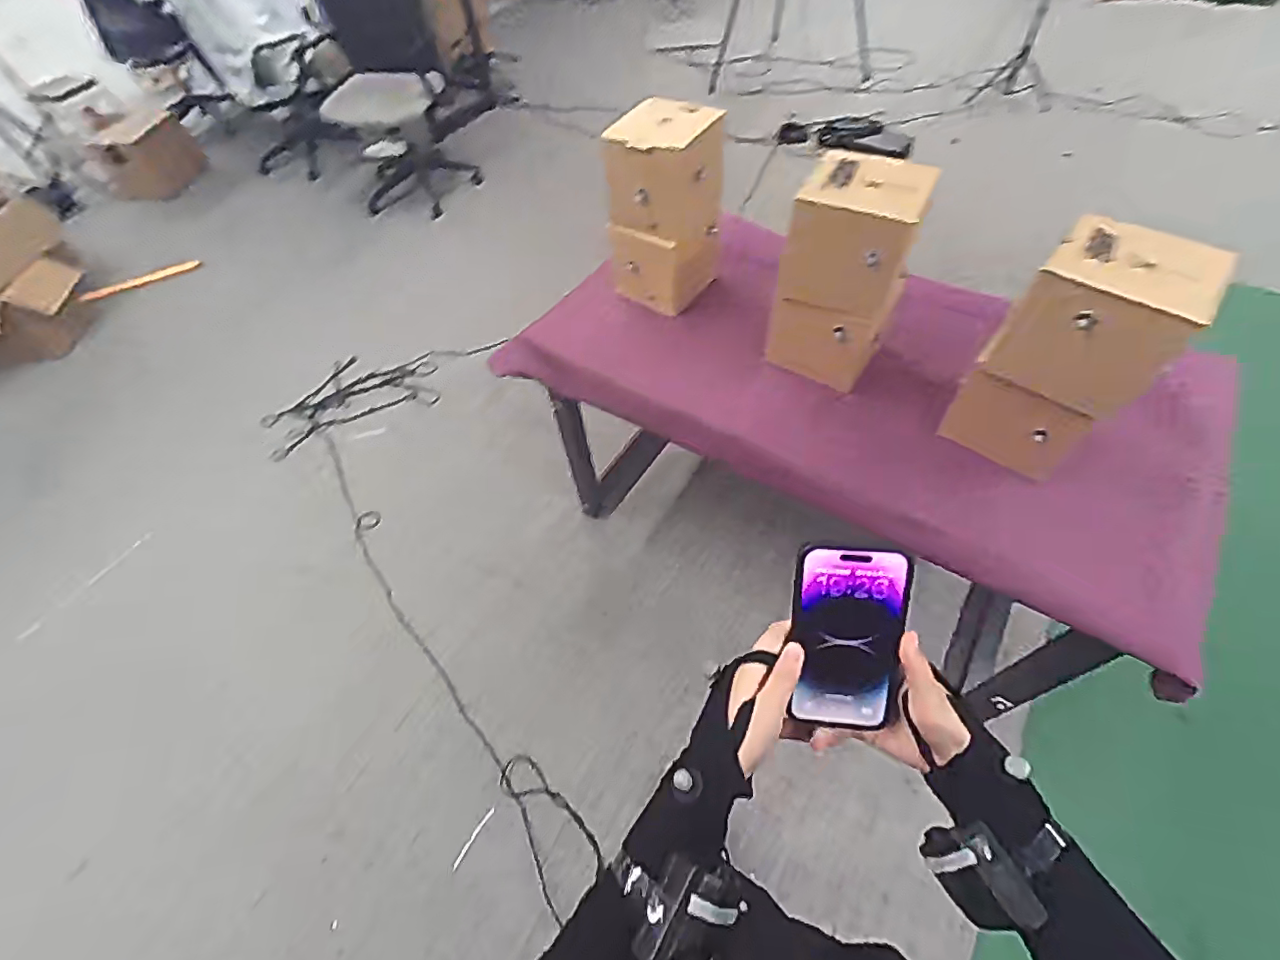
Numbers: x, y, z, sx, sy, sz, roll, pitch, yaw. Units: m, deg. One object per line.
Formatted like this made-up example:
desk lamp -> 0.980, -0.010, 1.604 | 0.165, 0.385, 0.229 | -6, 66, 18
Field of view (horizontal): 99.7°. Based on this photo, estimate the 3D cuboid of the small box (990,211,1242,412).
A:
small box -> 0.616, -0.221, 0.722 | 0.179, 0.176, 0.168 | 35, 64, 25

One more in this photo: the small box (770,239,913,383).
small box -> 0.363, -0.306, 1.001 | 0.179, 0.176, 0.168 | 29, 62, 23

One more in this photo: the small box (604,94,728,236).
small box -> 0.054, -0.596, 1.030 | 0.168, 0.176, 0.179 | 25, 62, 20

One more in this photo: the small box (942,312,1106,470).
small box -> 0.629, -0.141, 0.866 | 0.179, 0.176, 0.168 | 35, 64, 26

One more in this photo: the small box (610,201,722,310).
small box -> 0.061, -0.497, 1.161 | 0.168, 0.176, 0.179 | 30, 62, 23
